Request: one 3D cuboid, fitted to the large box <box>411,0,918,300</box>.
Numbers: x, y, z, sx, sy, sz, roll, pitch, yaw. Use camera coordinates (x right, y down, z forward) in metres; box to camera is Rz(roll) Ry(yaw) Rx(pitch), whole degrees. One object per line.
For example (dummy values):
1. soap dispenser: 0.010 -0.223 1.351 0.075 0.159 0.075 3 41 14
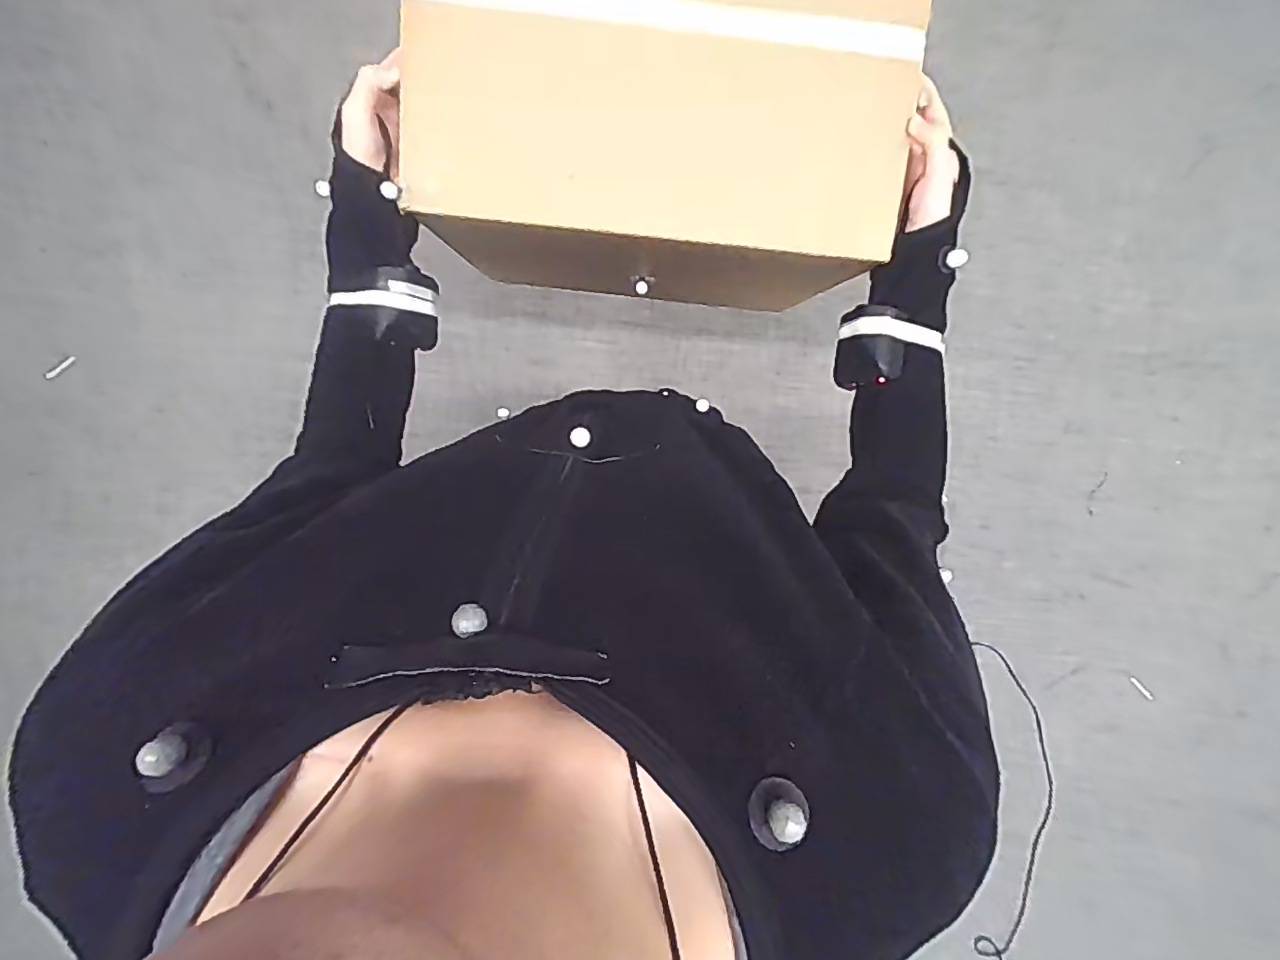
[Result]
1. large box: 0.018 -0.382 0.575 0.408 0.320 0.320 5 100 -2
